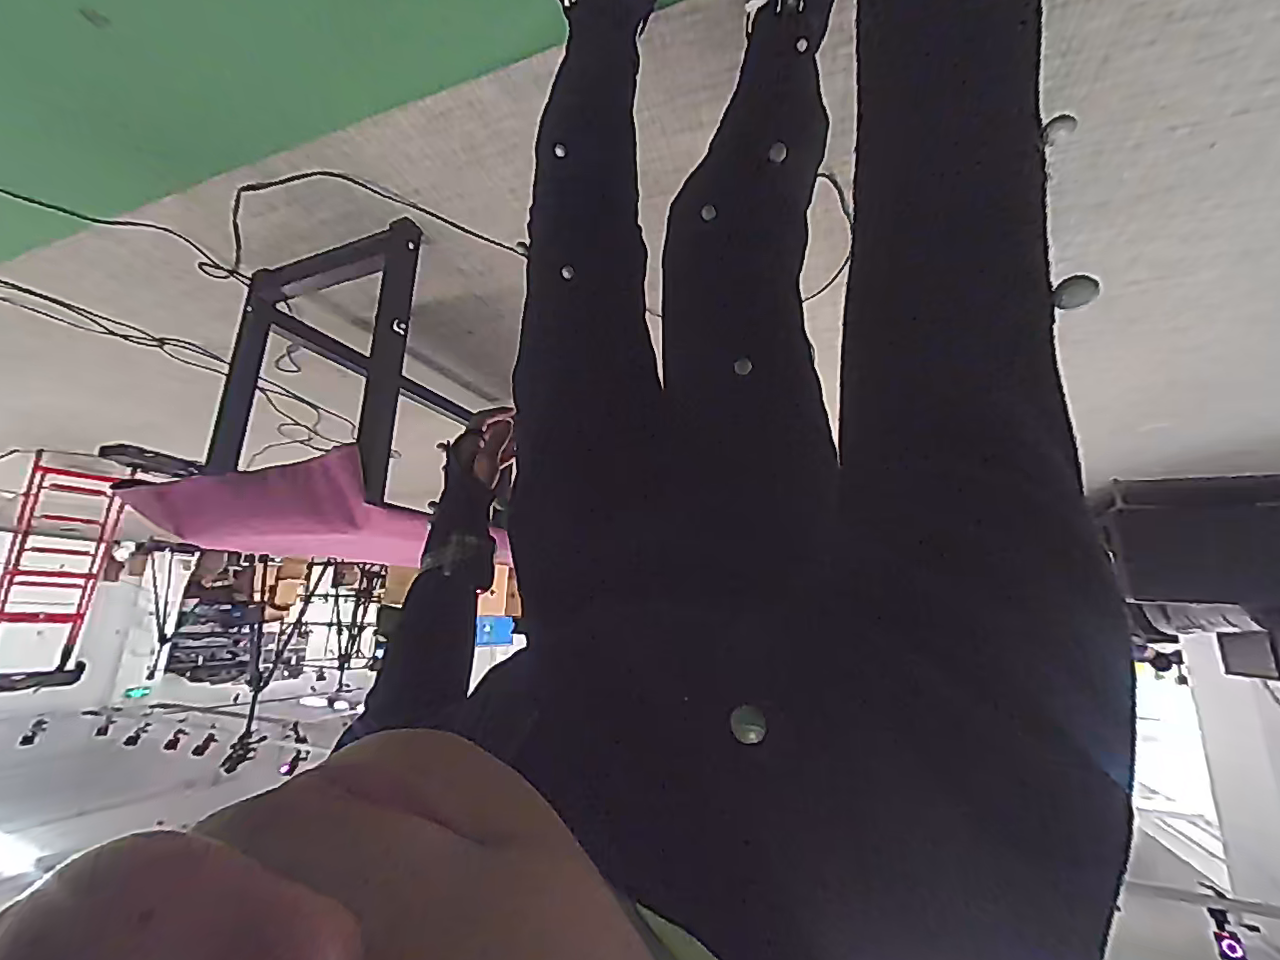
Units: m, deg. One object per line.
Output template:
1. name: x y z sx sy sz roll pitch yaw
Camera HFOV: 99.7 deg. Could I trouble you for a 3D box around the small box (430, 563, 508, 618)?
1. small box: -0.543 0.356 1.738 0.168 0.176 0.179 -4 165 23
